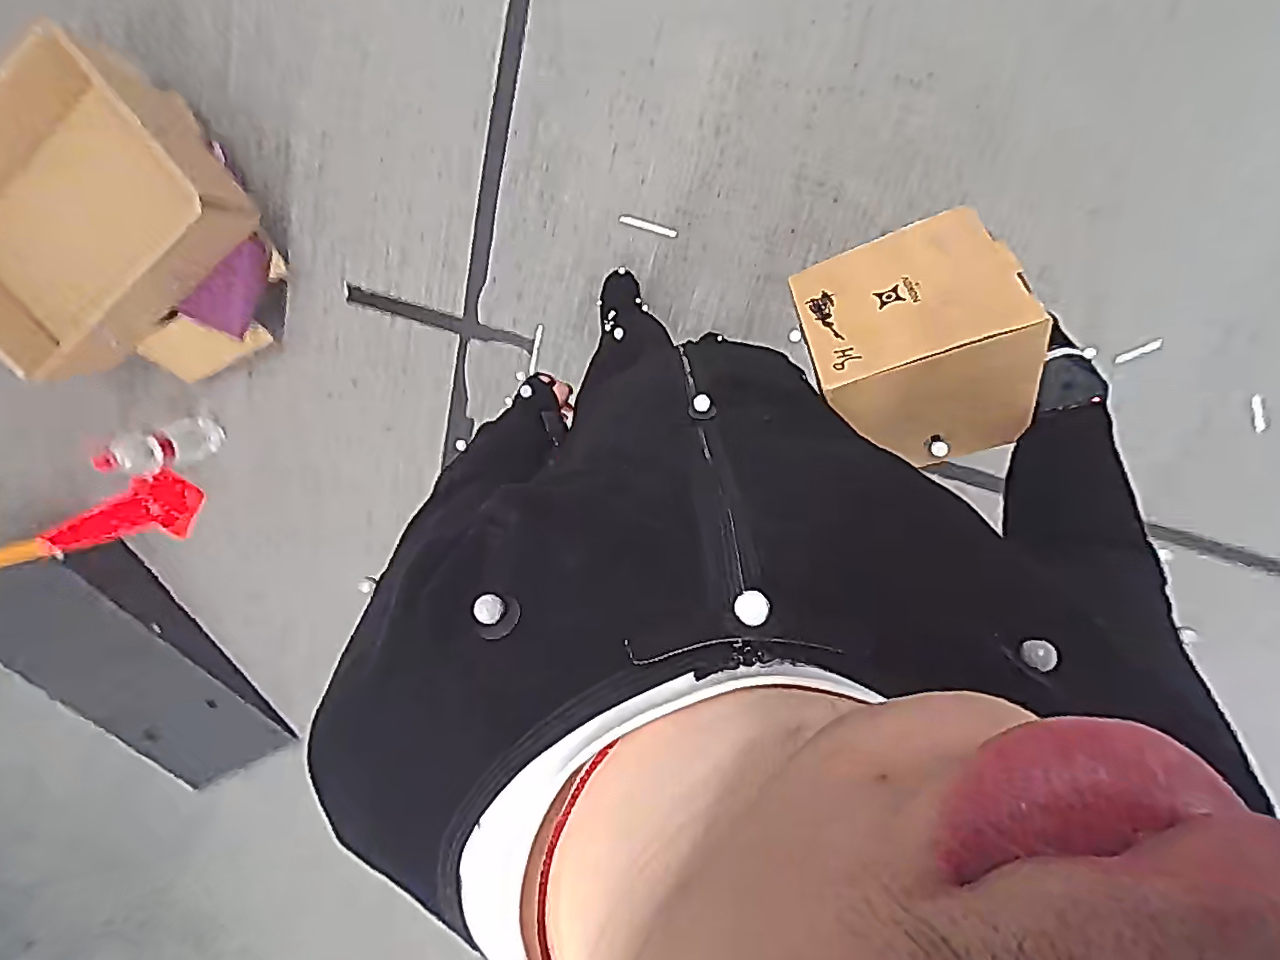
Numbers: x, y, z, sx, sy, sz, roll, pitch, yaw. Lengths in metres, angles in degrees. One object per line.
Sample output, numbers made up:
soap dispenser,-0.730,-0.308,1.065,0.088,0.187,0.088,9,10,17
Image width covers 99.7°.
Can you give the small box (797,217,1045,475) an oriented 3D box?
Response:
small box,0.279,-0.128,0.568,0.179,0.168,0.176,-15,143,19
